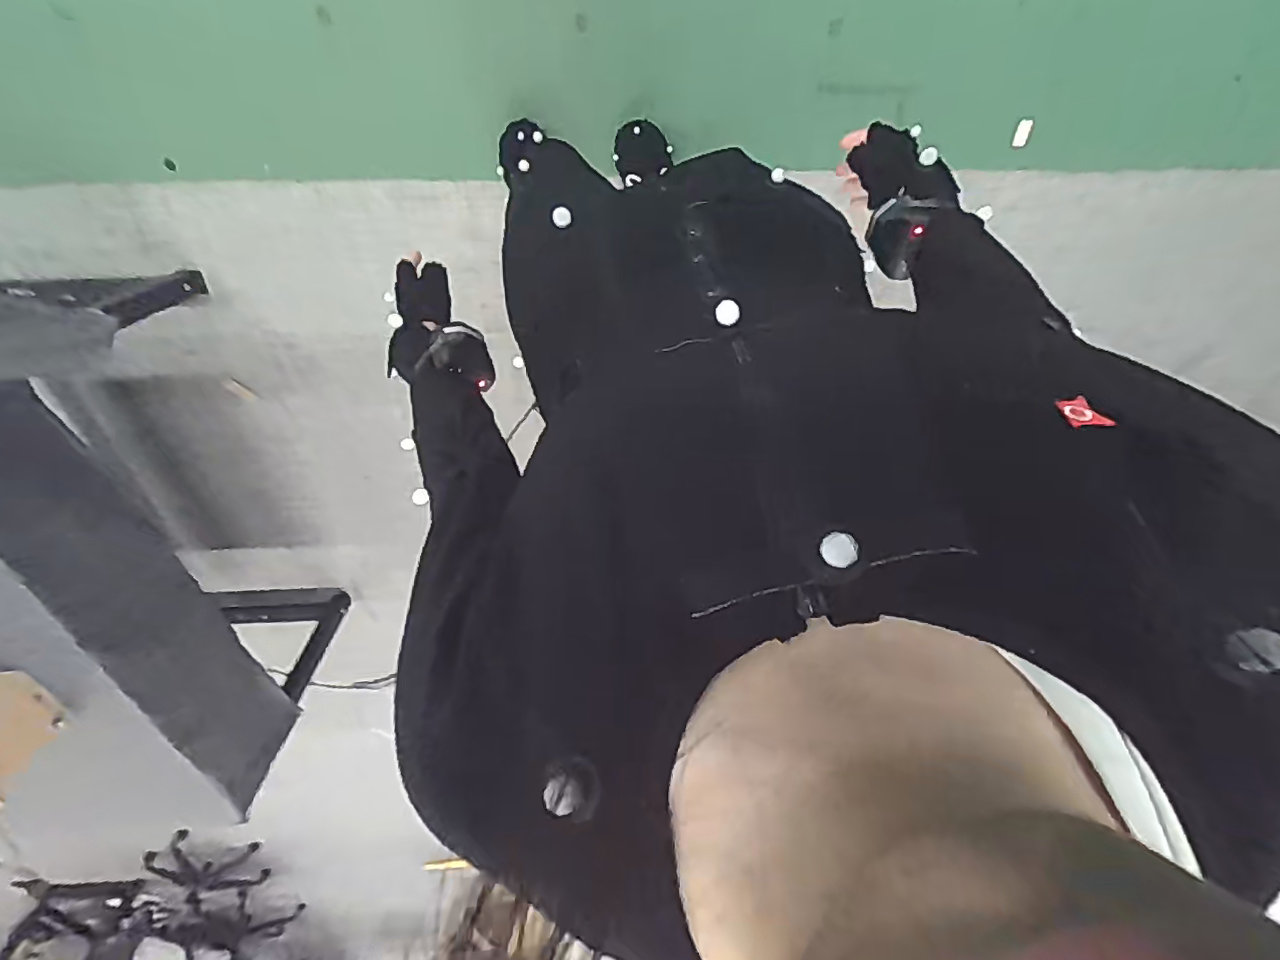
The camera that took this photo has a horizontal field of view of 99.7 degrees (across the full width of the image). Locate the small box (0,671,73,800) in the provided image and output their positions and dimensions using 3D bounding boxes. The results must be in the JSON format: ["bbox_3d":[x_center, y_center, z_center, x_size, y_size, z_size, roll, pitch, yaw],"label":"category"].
[{"bbox_3d":[-1.229,0.470,1.002,0.179,0.176,0.168,-1,124,1],"label":"small box"}]
